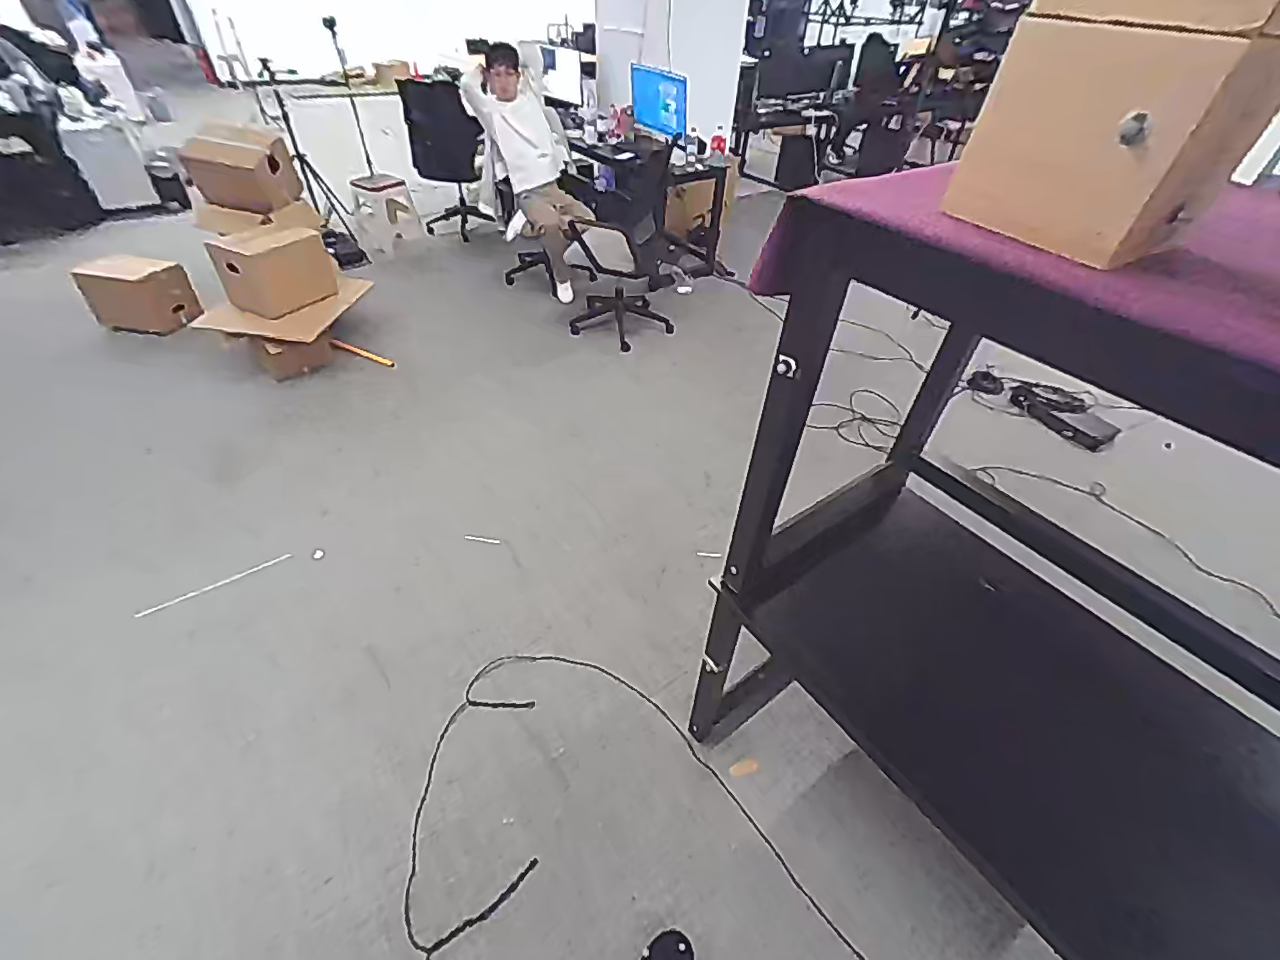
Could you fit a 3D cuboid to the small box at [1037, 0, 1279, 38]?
[{"bbox_3d":[0.455,-0.448,0.402,0.168,0.176,0.179,-20,49,-24],"label":"small box"}]
